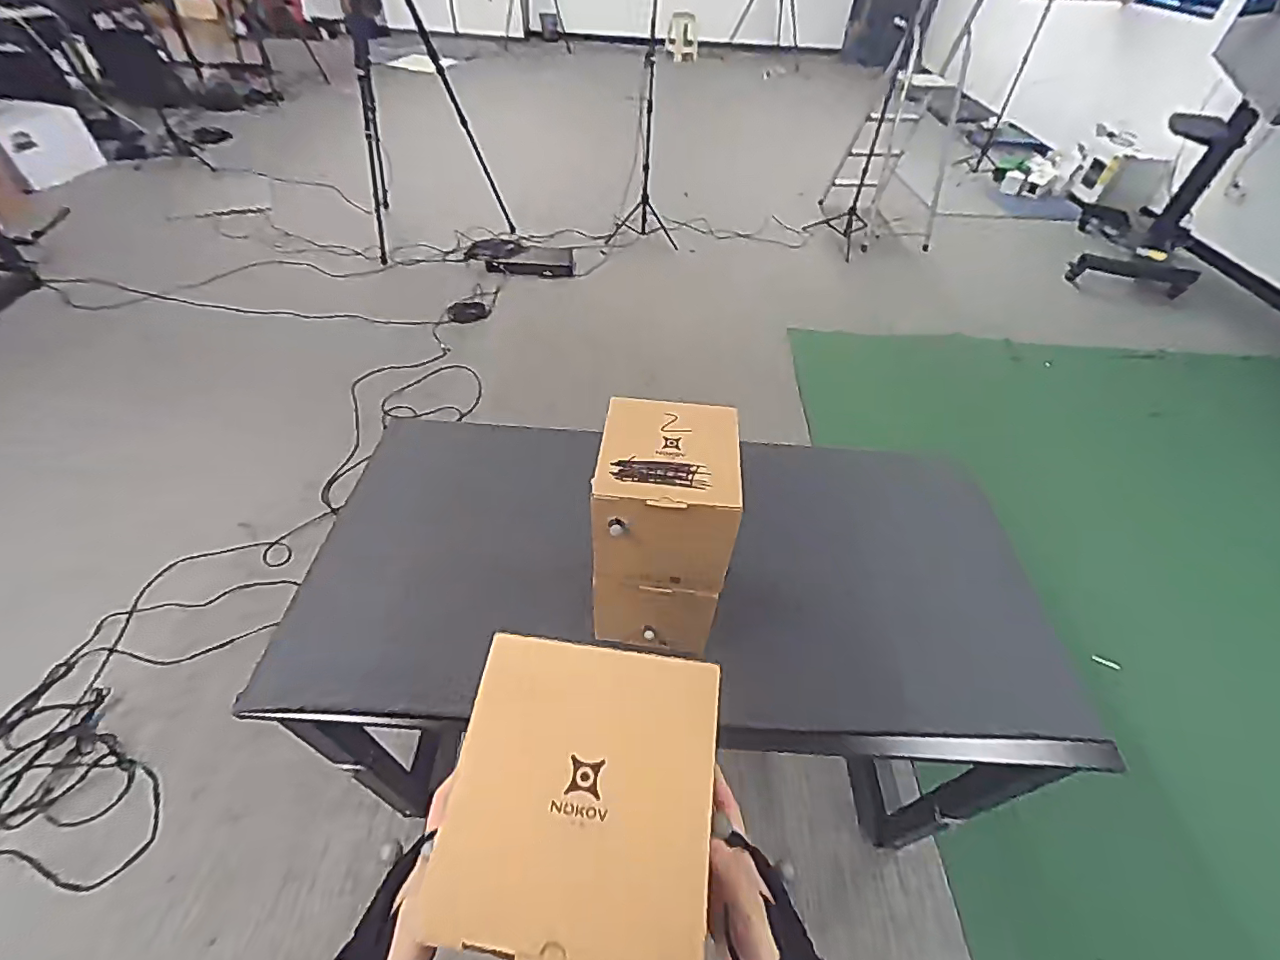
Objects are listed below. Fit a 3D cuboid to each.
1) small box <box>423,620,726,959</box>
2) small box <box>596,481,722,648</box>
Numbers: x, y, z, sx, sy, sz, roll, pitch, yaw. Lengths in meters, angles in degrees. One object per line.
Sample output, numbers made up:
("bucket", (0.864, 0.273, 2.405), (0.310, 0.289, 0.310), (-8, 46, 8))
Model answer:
("small box", (-0.034, 0.228, 0.408), (0.168, 0.176, 0.179), (7, 57, 3))
("small box", (0.028, 0.128, 0.813), (0.168, 0.176, 0.179), (6, 47, 3))
